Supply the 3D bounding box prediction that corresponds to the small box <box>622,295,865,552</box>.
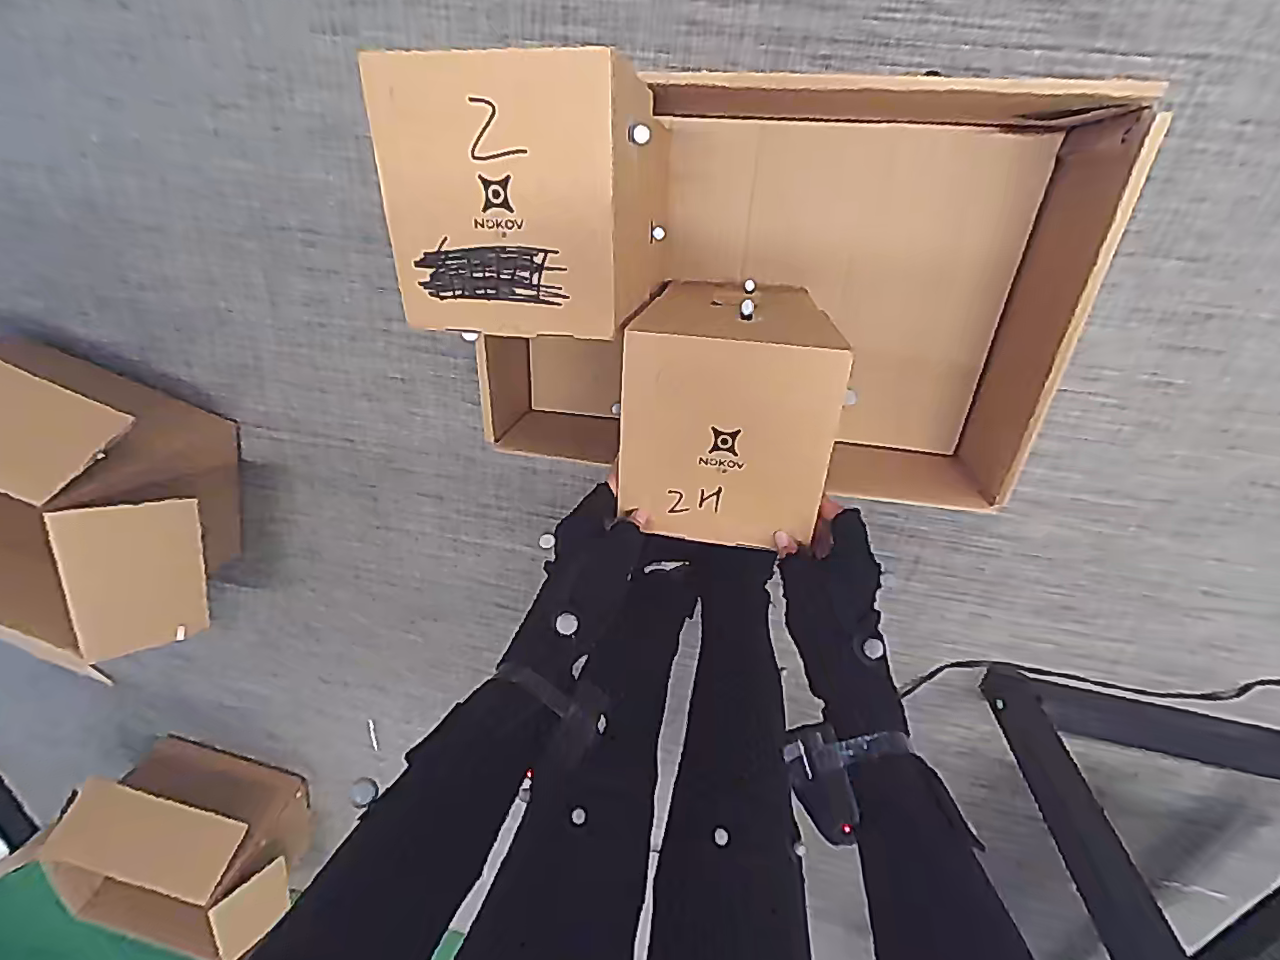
[{"bbox_3d":[0.083,-0.063,0.489,0.168,0.176,0.179,8,119,7],"label":"small box"}]
